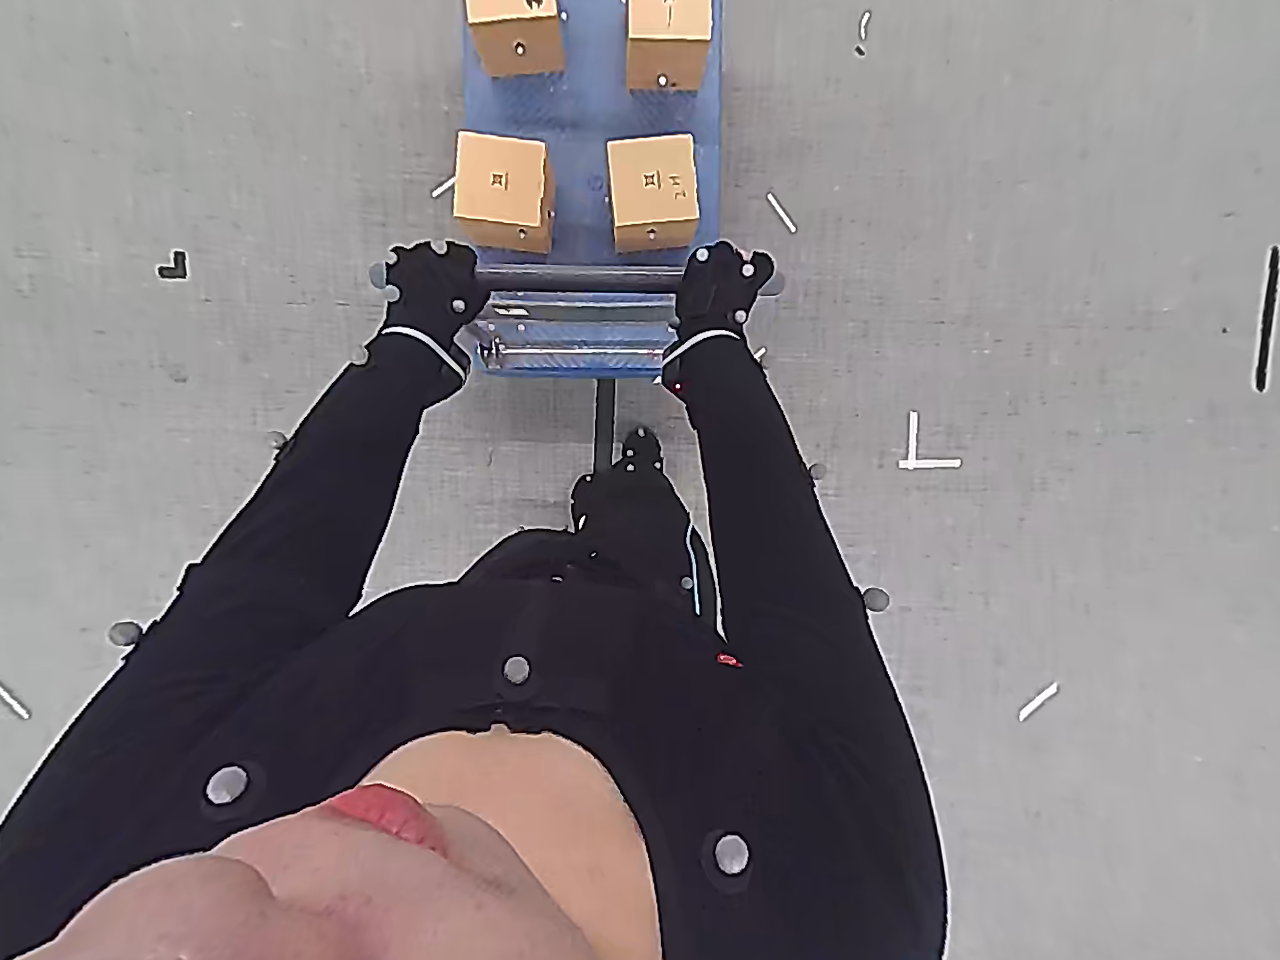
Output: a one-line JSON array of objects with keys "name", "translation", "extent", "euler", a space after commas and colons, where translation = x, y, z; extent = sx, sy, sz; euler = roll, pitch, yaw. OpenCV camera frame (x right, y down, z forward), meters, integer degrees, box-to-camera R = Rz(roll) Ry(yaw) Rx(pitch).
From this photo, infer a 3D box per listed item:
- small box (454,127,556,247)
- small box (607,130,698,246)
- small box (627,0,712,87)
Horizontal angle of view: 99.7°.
[{"name": "small box", "translation": [-0.282, -0.617, 1.159], "extent": [0.179, 0.176, 0.168], "euler": [5, 95, -4]}, {"name": "small box", "translation": [0.025, -0.620, 1.168], "extent": [0.179, 0.176, 0.168], "euler": [-6, 96, -1]}, {"name": "small box", "translation": [0.057, -0.969, 1.132], "extent": [0.168, 0.176, 0.179], "euler": [0, 97, -2]}]
